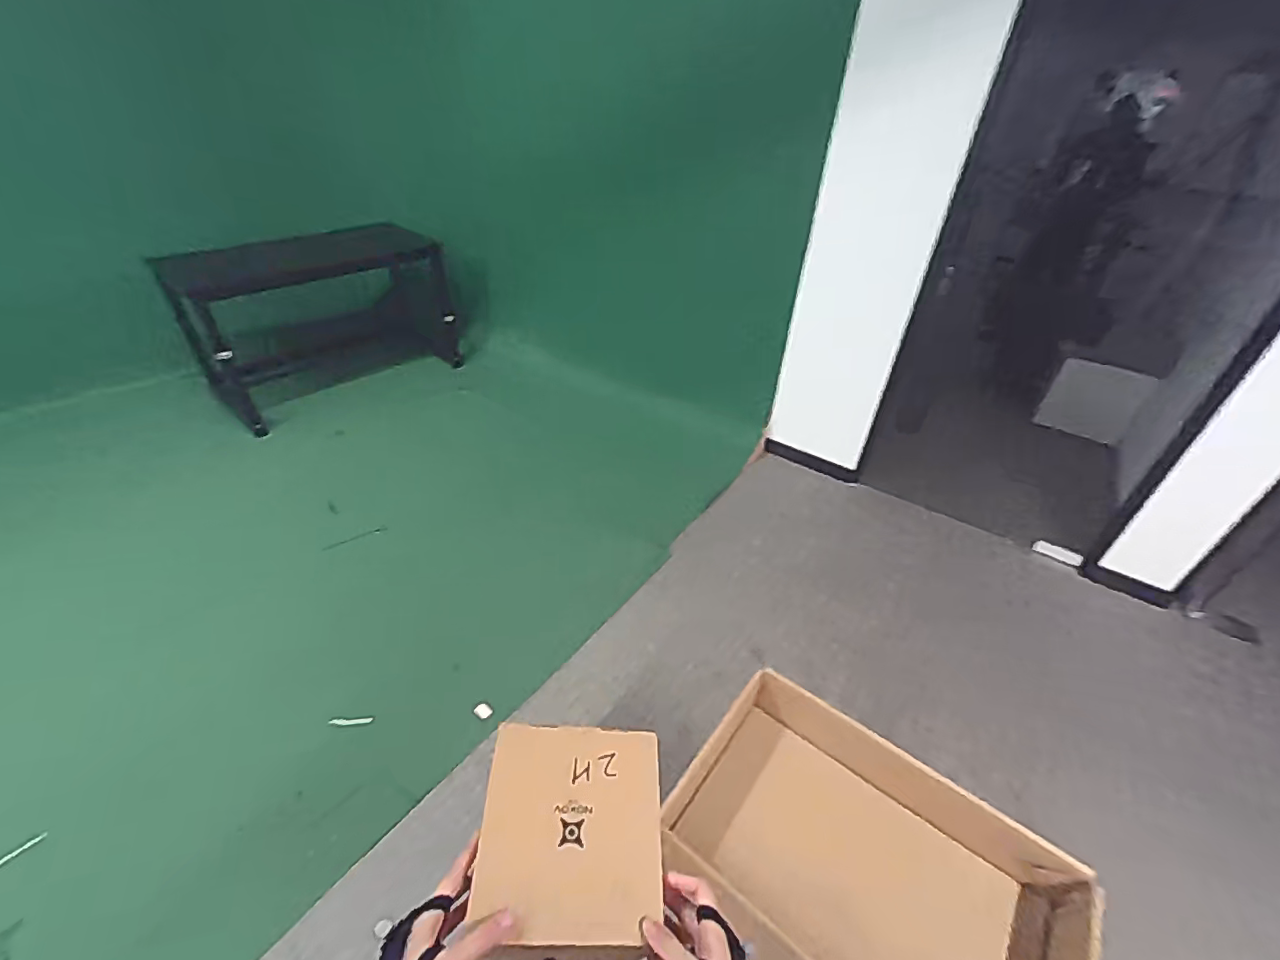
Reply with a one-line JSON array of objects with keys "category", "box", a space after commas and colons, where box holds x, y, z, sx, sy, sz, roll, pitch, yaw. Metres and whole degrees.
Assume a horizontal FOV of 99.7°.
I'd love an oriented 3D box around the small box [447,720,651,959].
[{"category": "small box", "box": [-0.084, 0.368, 0.543, 0.168, 0.176, 0.179, 8, 42, -8]}]
